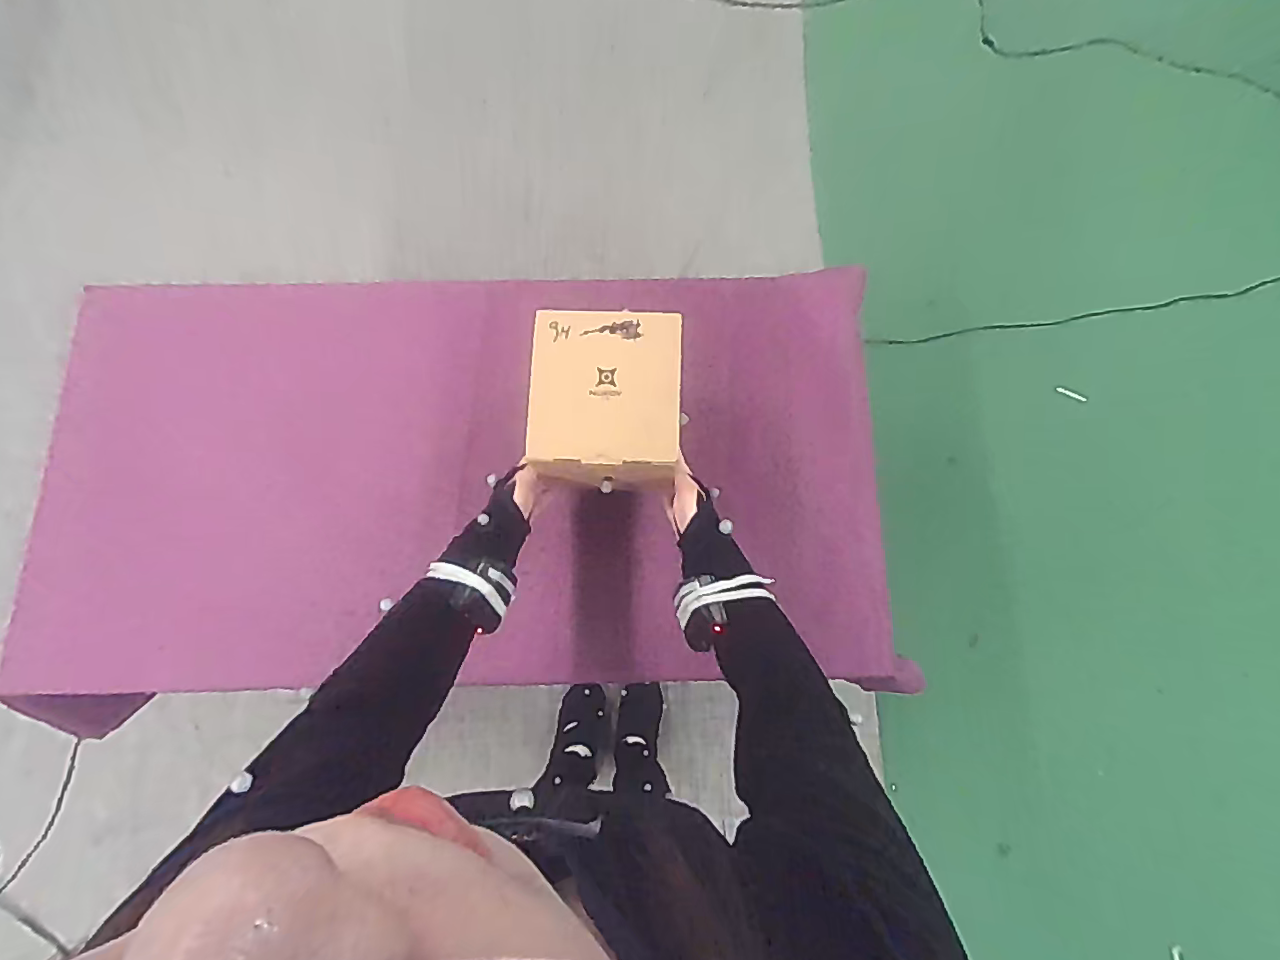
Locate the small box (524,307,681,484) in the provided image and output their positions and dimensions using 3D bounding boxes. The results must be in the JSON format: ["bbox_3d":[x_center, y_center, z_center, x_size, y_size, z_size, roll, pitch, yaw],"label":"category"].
[{"bbox_3d":[-0.036,-0.092,0.663,0.168,0.176,0.179,2,80,2],"label":"small box"}]
